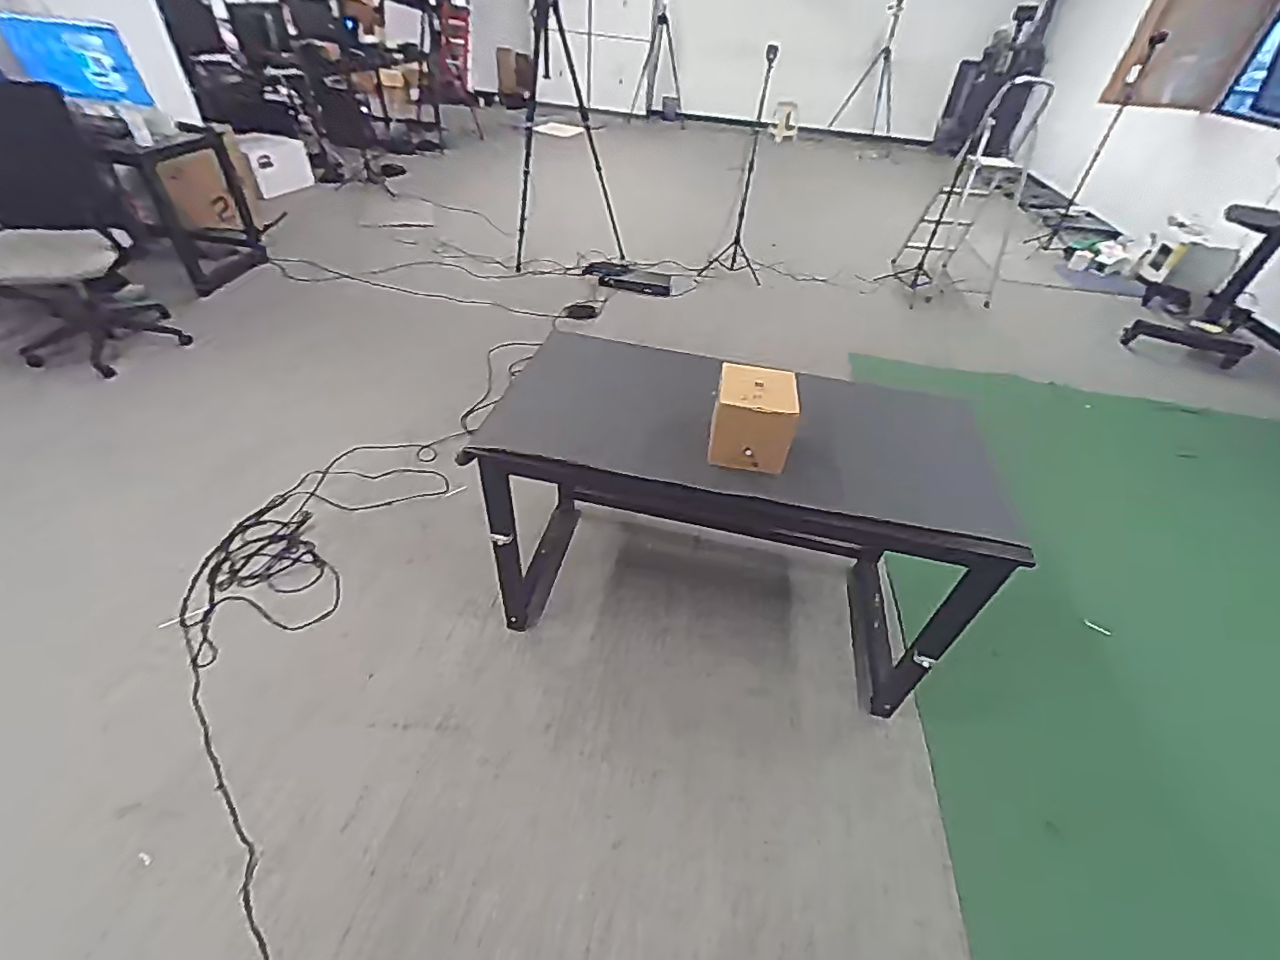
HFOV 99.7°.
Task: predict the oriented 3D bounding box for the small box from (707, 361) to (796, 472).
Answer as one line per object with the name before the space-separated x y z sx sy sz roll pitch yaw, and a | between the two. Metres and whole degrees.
small box | 0.246 -0.144 1.223 0.168 0.176 0.179 8 41 4
